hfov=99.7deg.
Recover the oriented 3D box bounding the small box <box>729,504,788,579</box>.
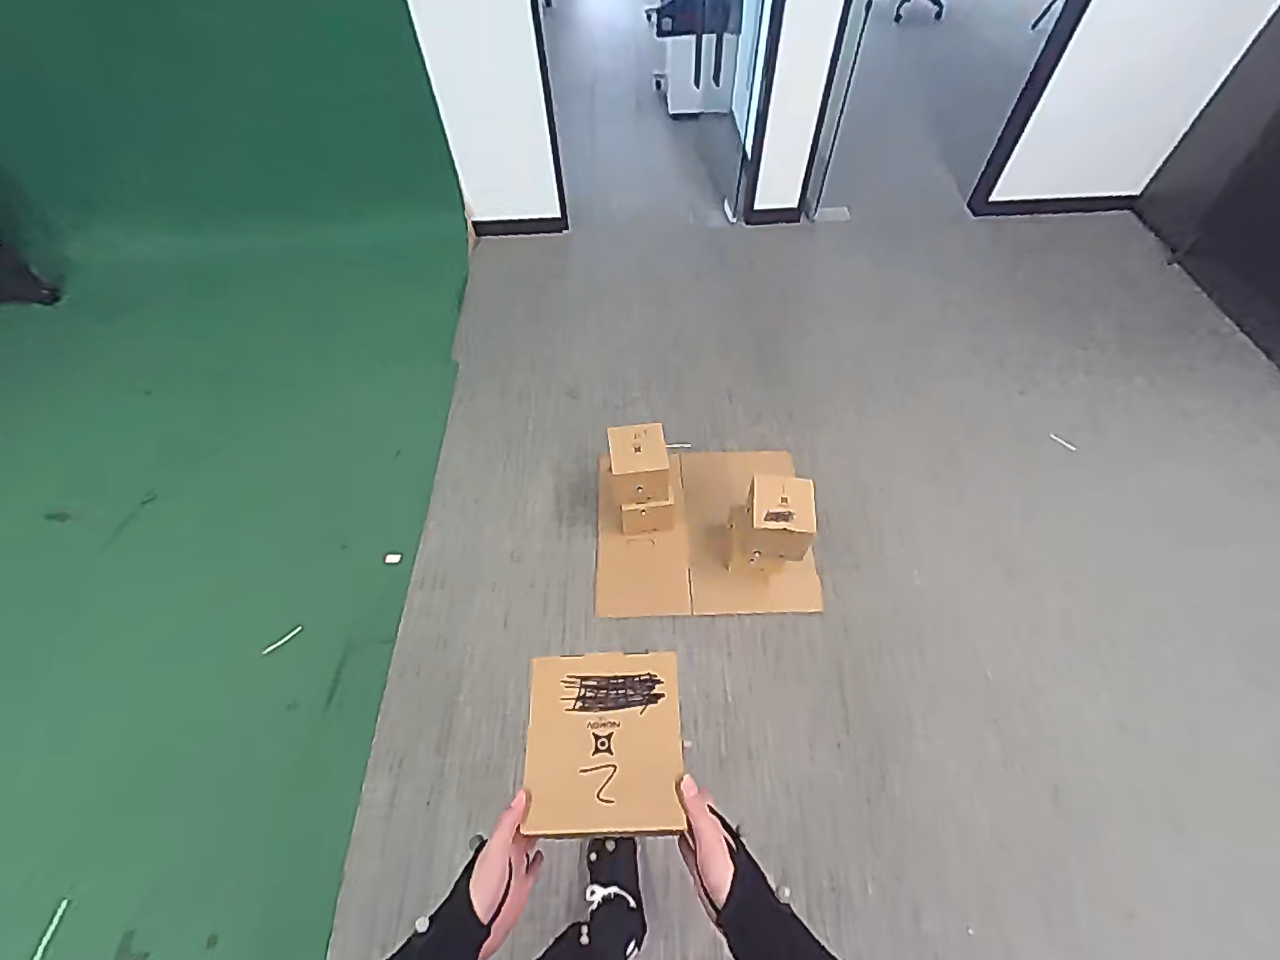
[{"bbox_3d":[0.366,0.192,1.663,0.168,0.176,0.179,2,55,4],"label":"small box"}]

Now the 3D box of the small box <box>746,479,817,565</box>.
[{"bbox_3d":[0.391,0.120,1.512,0.168,0.176,0.179,6,54,5],"label":"small box"}]

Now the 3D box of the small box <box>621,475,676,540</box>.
[{"bbox_3d":[0.021,0.073,1.756,0.168,0.176,0.179,-7,55,-4],"label":"small box"}]

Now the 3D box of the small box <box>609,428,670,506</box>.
[{"bbox_3d":[-0.002,-0.033,1.630,0.168,0.176,0.179,-5,54,-4],"label":"small box"}]
